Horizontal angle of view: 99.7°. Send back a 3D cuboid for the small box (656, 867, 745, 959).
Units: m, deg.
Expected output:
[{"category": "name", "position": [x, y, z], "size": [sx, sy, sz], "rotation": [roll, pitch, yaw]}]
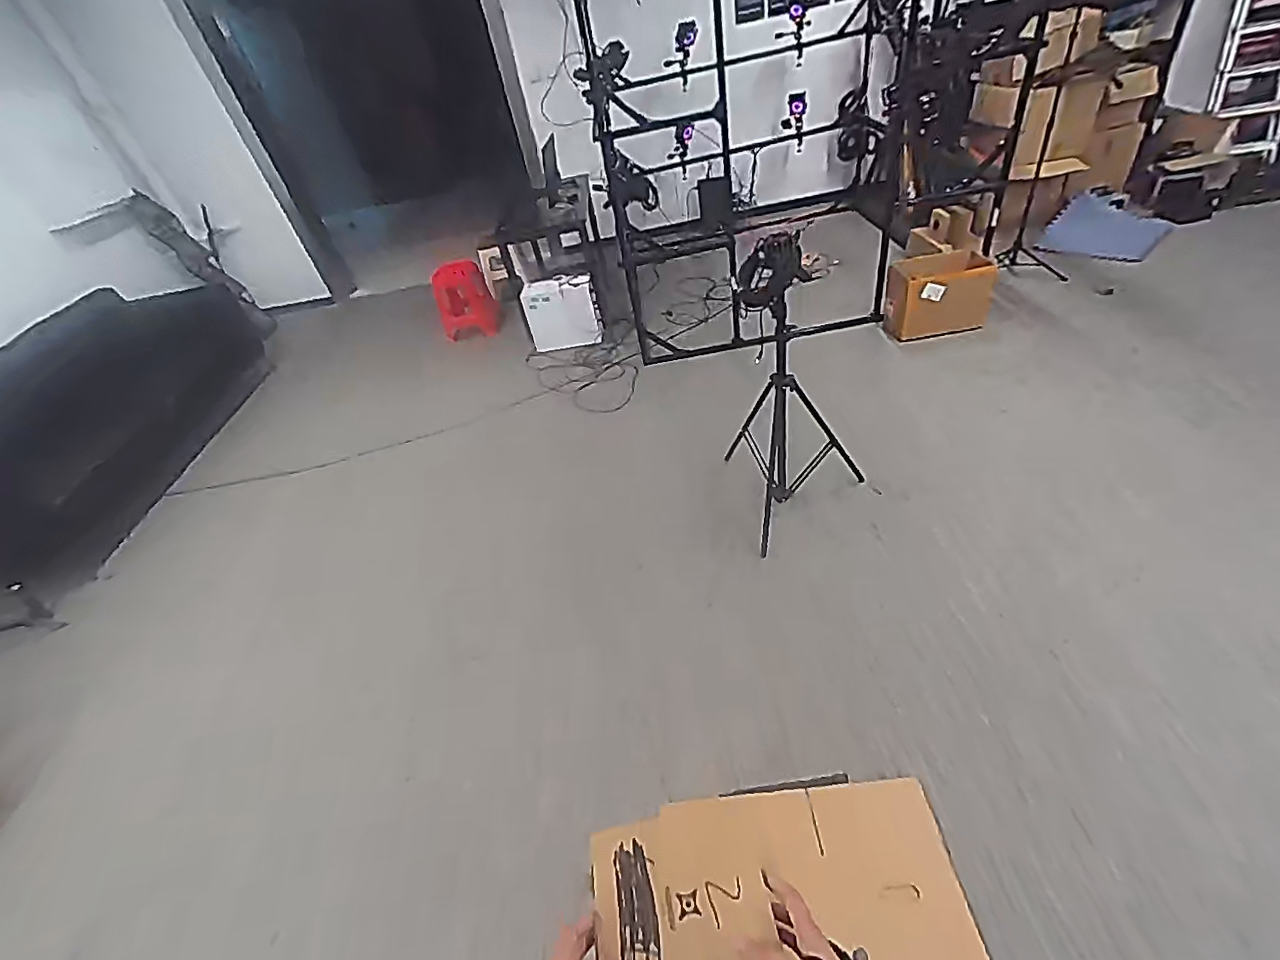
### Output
[{"category": "small box", "position": [0.138, 0.999, 1.221], "size": [0.179, 0.176, 0.168], "rotation": [-10, 40, 6]}]
